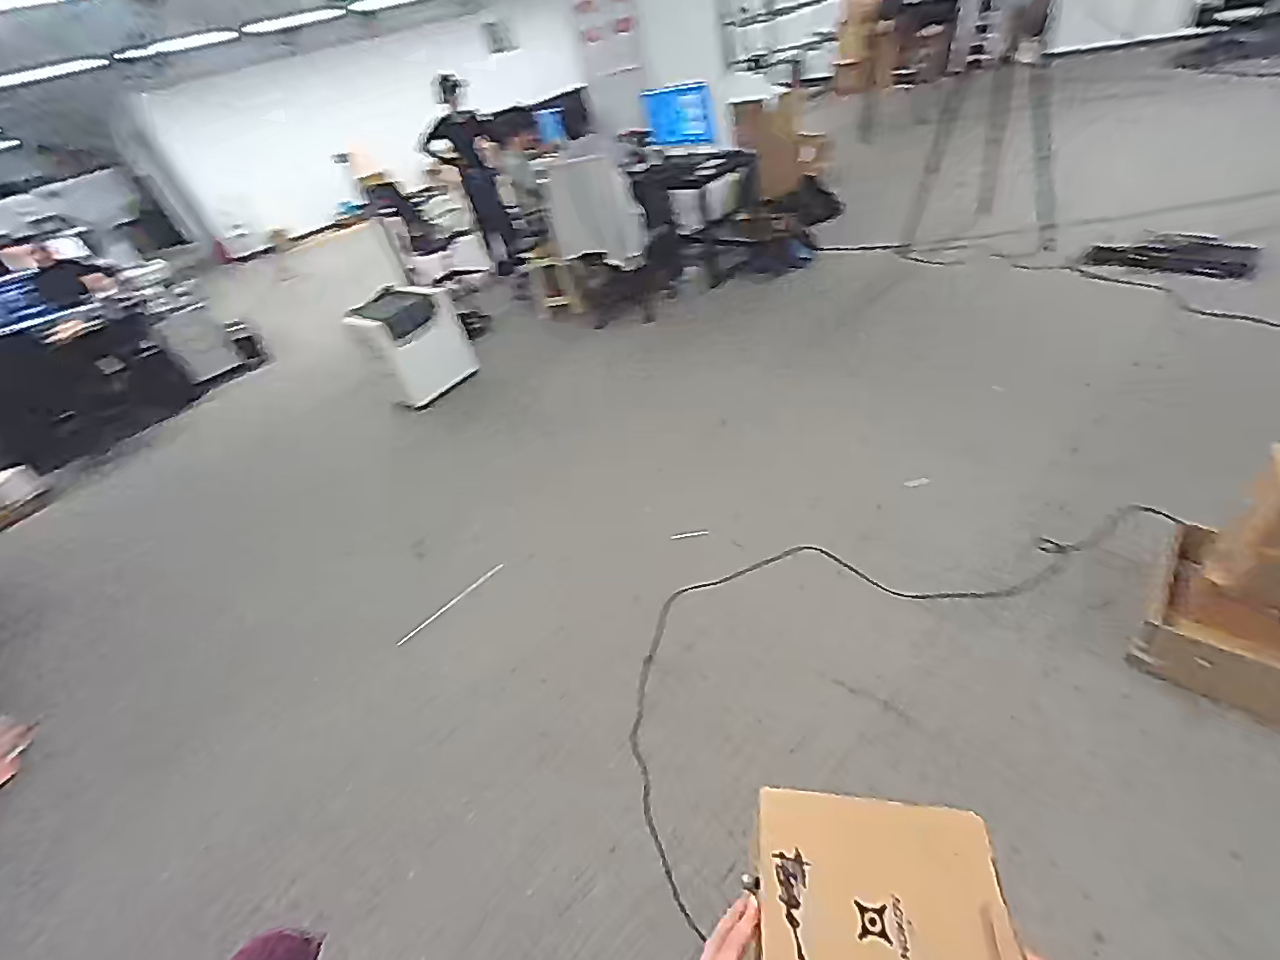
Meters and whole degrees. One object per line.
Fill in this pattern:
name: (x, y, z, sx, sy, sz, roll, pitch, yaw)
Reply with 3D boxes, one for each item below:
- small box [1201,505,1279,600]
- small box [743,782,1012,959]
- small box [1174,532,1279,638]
small box: (1.465, 0.162, 1.247, 0.179, 0.176, 0.168, 7, 47, 26)
small box: (0.178, 0.376, 0.447, 0.179, 0.176, 0.168, 2, 45, 10)
small box: (1.505, 0.267, 1.365, 0.179, 0.176, 0.168, 23, 55, 35)
